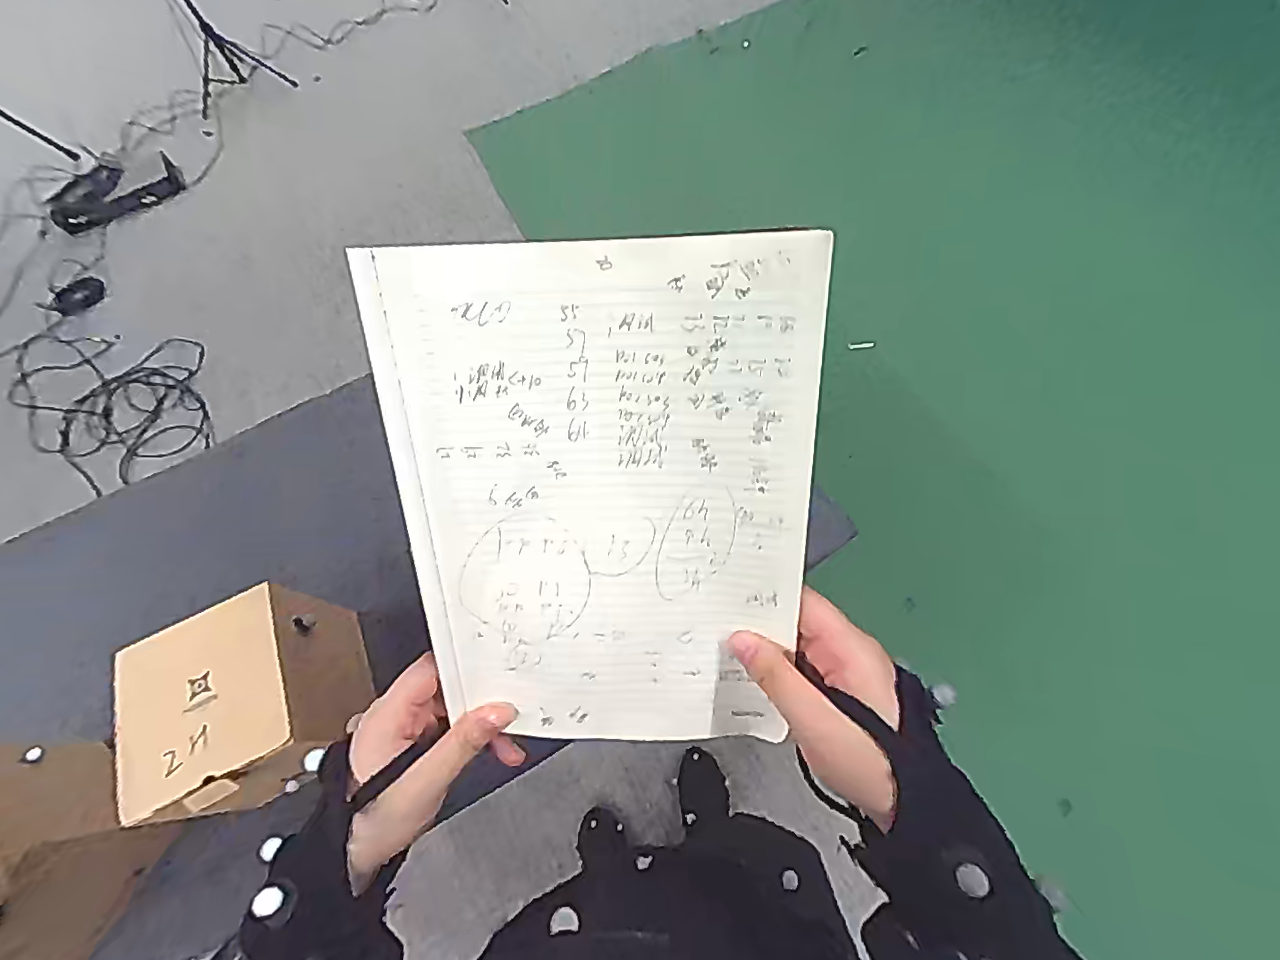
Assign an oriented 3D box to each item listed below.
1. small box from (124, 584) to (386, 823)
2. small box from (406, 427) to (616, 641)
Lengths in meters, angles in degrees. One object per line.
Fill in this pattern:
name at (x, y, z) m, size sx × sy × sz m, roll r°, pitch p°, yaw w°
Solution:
small box at (-0.420, 0.248, 0.609) m, size 0.168 × 0.176 × 0.179 m, roll -27°, pitch 65°, yaw -6°
small box at (-0.141, 0.073, 0.656) m, size 0.179 × 0.176 × 0.168 m, roll -31°, pitch 65°, yaw -6°
